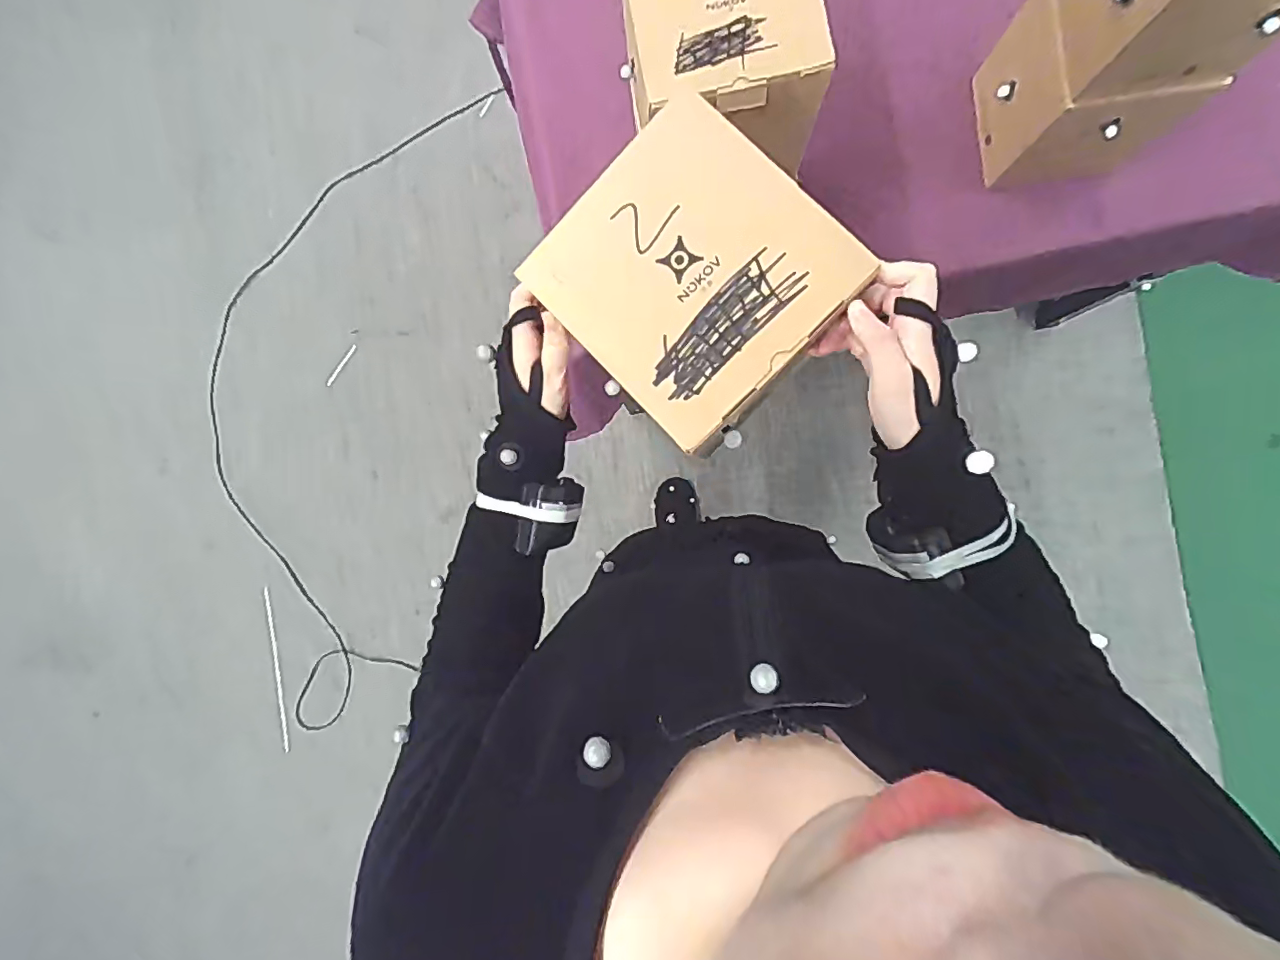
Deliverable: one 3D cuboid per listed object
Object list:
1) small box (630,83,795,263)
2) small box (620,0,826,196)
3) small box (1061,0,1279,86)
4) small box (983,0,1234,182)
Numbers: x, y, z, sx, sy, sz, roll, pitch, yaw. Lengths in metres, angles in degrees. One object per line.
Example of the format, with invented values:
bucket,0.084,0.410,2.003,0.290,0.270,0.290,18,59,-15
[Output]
small box,0.092,-0.411,0.719,0.179,0.176,0.168,-10,87,4
small box,0.076,-0.421,0.556,0.168,0.176,0.179,-10,86,4
small box,0.543,-0.516,0.515,0.168,0.176,0.179,-6,87,5
small box,0.559,-0.502,0.677,0.179,0.176,0.168,-5,88,5
